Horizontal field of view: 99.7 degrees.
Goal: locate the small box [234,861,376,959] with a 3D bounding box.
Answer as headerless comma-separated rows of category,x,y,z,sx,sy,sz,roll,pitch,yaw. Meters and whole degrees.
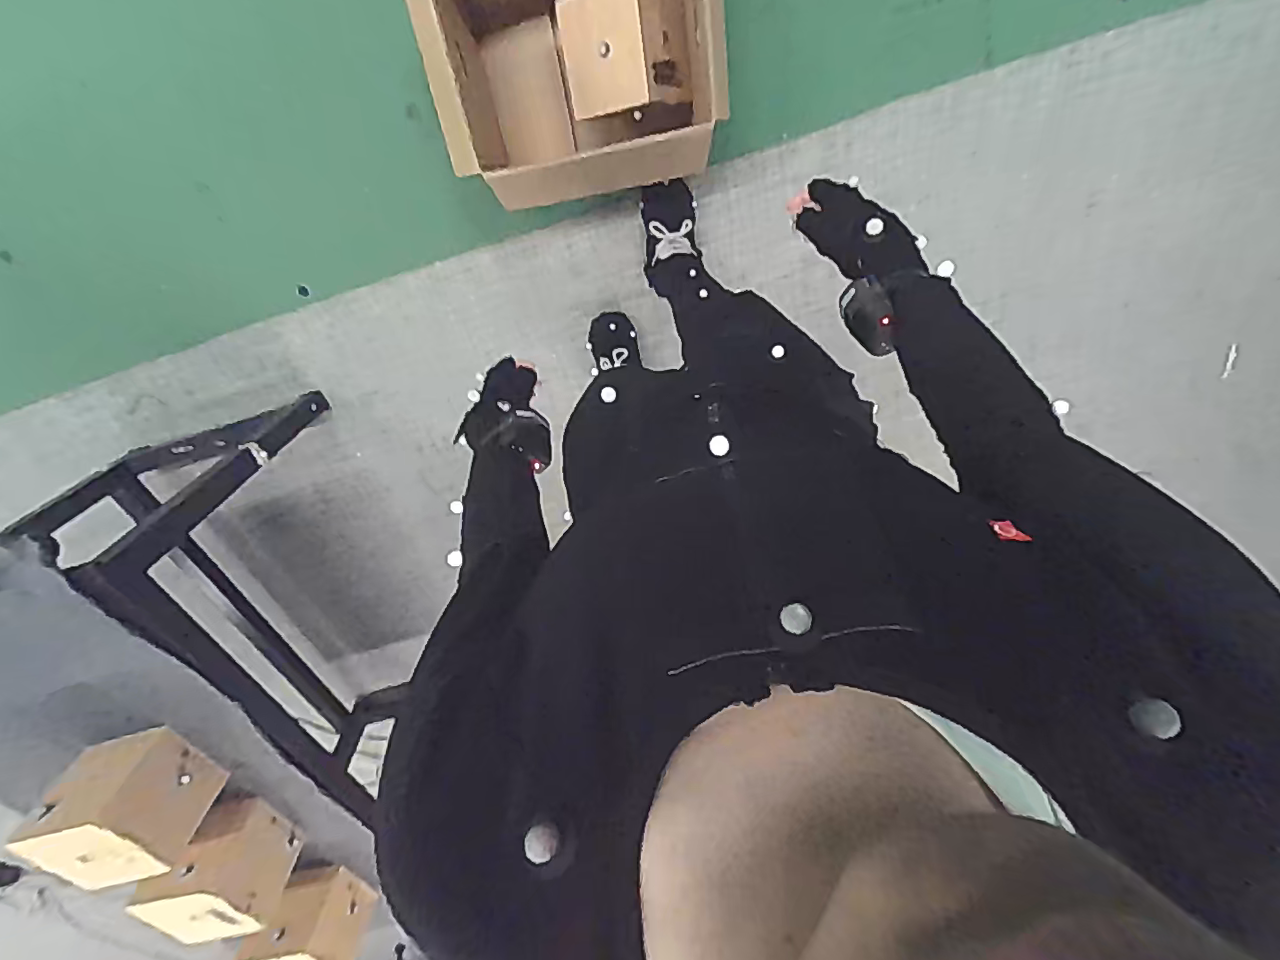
small box,-0.732,0.989,1.206,0.179,0.176,0.168,-16,120,7

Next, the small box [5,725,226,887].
small box,-0.884,0.558,0.934,0.179,0.176,0.168,-17,121,7

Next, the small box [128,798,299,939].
small box,-0.811,0.754,1.059,0.179,0.176,0.168,-15,121,6
